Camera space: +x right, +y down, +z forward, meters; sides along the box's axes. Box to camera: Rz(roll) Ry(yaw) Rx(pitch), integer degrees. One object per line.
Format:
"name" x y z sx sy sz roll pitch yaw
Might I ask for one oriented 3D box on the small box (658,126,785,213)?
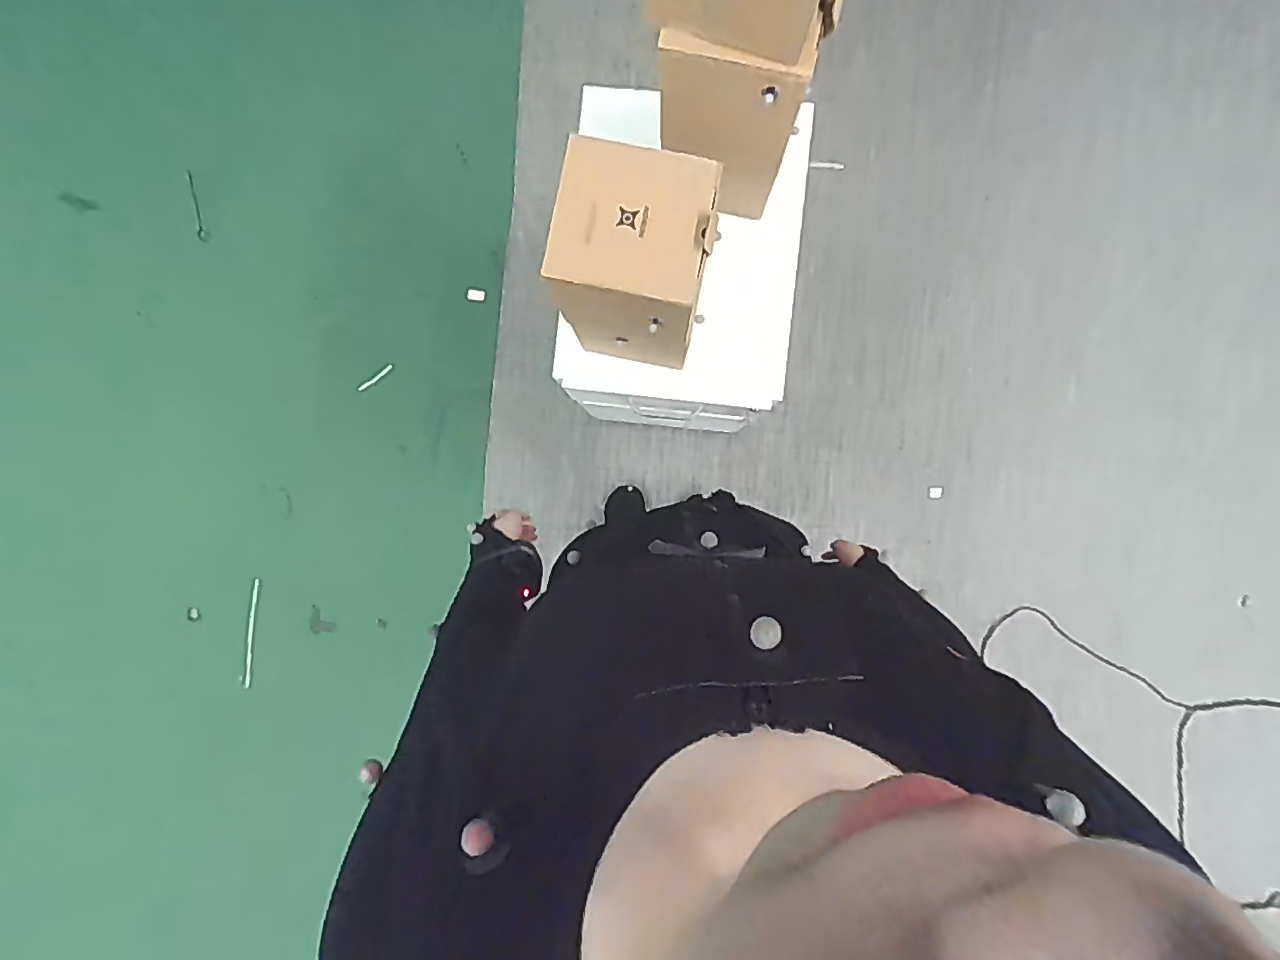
"small box" 0.131 -0.542 0.833 0.179 0.176 0.168 13 90 3

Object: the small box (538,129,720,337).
"small box" -0.010 -0.290 0.673 0.179 0.176 0.168 11 88 3

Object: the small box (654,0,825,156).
"small box" 0.120 -0.539 0.671 0.179 0.176 0.168 13 90 2

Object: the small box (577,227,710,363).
"small box" -0.001 -0.291 0.836 0.179 0.176 0.168 12 90 1
